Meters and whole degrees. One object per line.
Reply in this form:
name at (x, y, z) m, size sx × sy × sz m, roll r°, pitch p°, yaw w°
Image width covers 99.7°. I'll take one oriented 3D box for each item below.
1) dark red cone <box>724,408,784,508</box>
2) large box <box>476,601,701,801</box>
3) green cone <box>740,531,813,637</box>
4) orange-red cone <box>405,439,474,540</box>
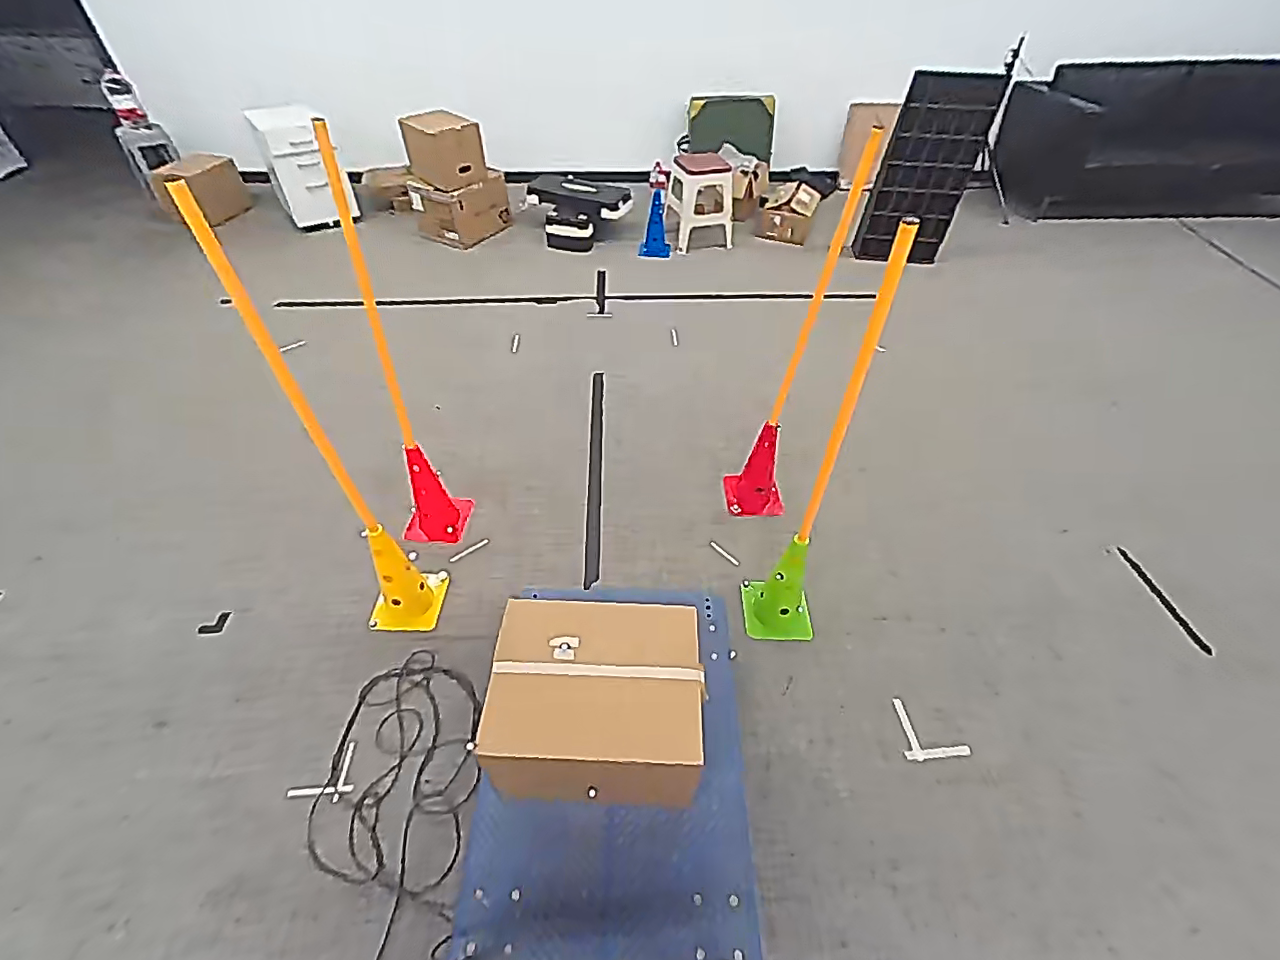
dark red cone at (0.428, -0.085, 1.885) m, size 0.201 × 0.394 × 0.202 m, roll 1°, pitch 47°, yaw -4°
large box at (-0.086, 0.476, 1.156) m, size 0.408 × 0.320 × 0.320 m, roll 2°, pitch 46°, yaw 1°
green cone at (0.427, 0.277, 1.562) m, size 0.202 × 0.368 × 0.200 m, roll 3°, pitch 46°, yaw -1°
orange-red cone at (-0.698, 0.007, 1.790) m, size 0.198 × 0.360 × 0.199 m, roll 5°, pitch 45°, yaw 2°
